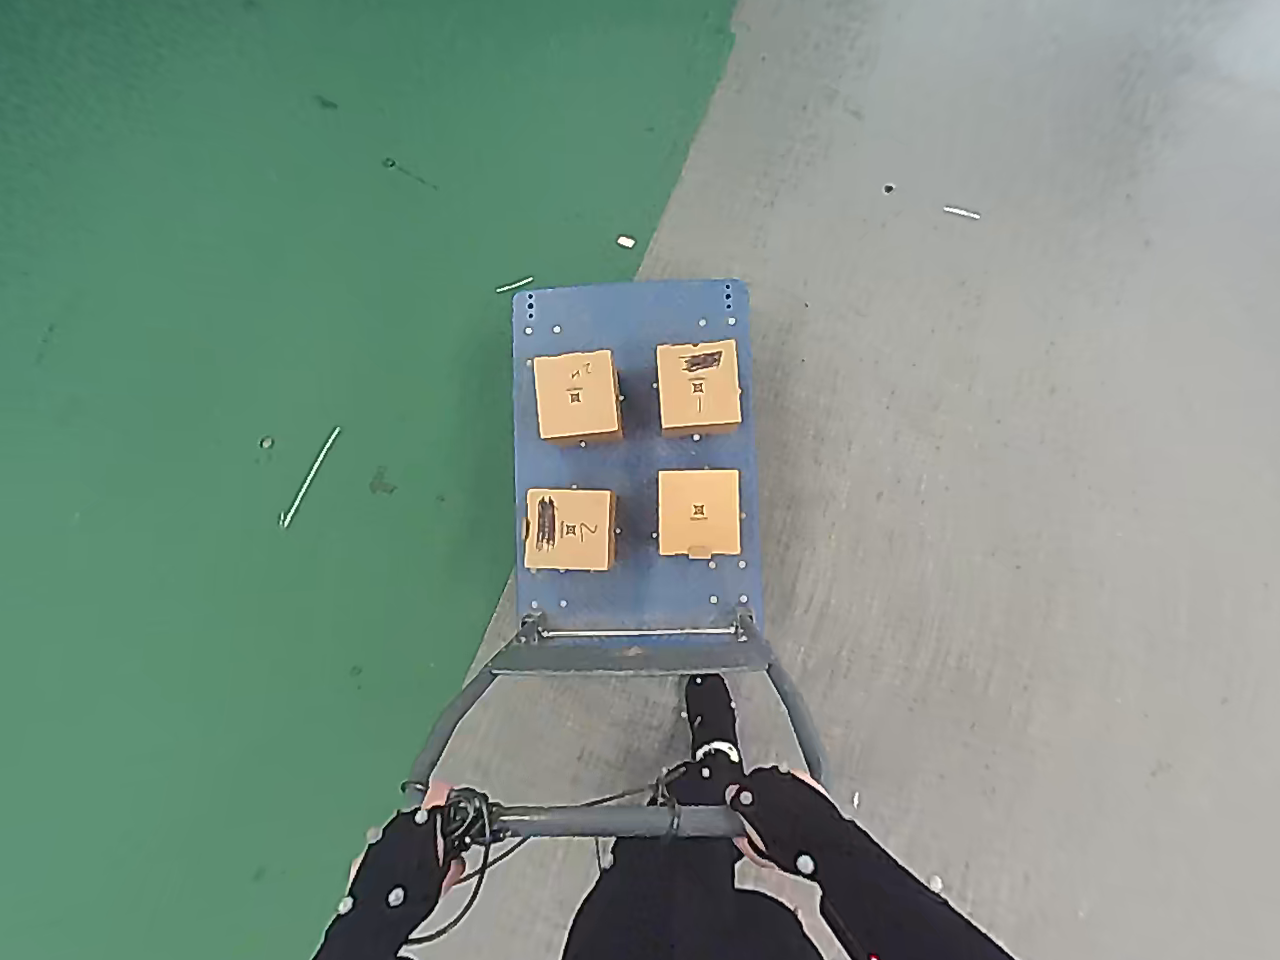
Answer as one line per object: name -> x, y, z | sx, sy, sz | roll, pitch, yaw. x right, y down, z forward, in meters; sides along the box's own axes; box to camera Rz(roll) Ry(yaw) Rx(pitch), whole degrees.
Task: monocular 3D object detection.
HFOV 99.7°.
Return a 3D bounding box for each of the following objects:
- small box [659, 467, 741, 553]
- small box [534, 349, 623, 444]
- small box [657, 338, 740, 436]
small box -> 0.125, 0.065, 1.182 | 0.168, 0.176, 0.179 | -1, 88, 3
small box -> -0.132, -0.177, 1.208 | 0.168, 0.176, 0.179 | -6, 86, 2
small box -> 0.124, -0.199, 1.196 | 0.168, 0.176, 0.179 | -4, 87, 3
